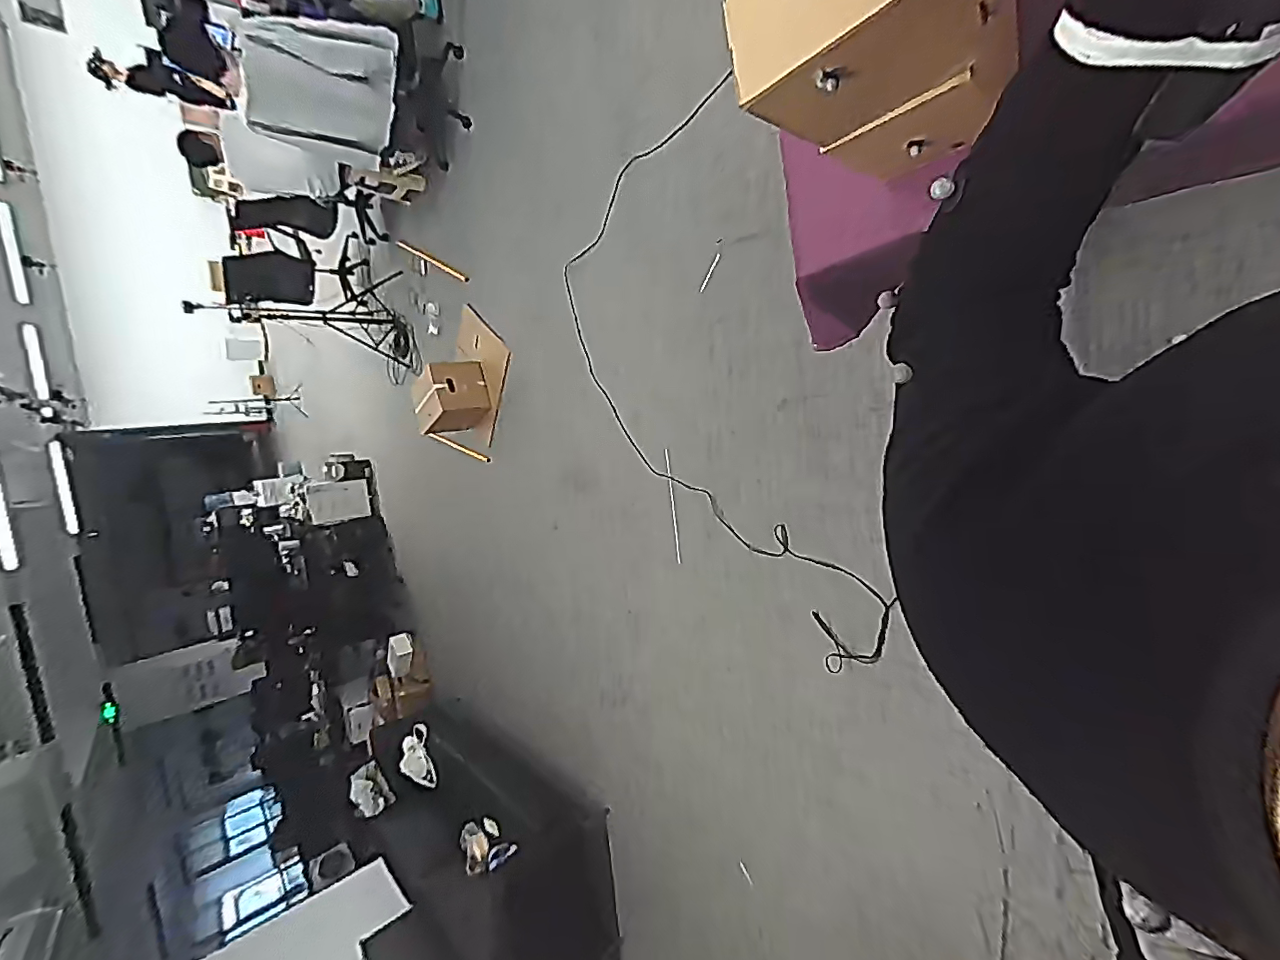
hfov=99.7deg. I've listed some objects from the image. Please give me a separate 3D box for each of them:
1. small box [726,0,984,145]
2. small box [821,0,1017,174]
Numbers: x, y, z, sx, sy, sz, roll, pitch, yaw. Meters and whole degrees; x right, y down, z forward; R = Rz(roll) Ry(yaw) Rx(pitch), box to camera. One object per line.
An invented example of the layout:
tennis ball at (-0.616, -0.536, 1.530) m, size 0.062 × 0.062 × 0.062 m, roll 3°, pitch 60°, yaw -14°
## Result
small box at (0.206, -0.464, 0.529) m, size 0.179 × 0.176 × 0.168 m, roll -1°, pitch 98°, yaw 49°
small box at (0.326, -0.487, 0.638) m, size 0.168 × 0.176 × 0.179 m, roll 1°, pitch 99°, yaw 49°
